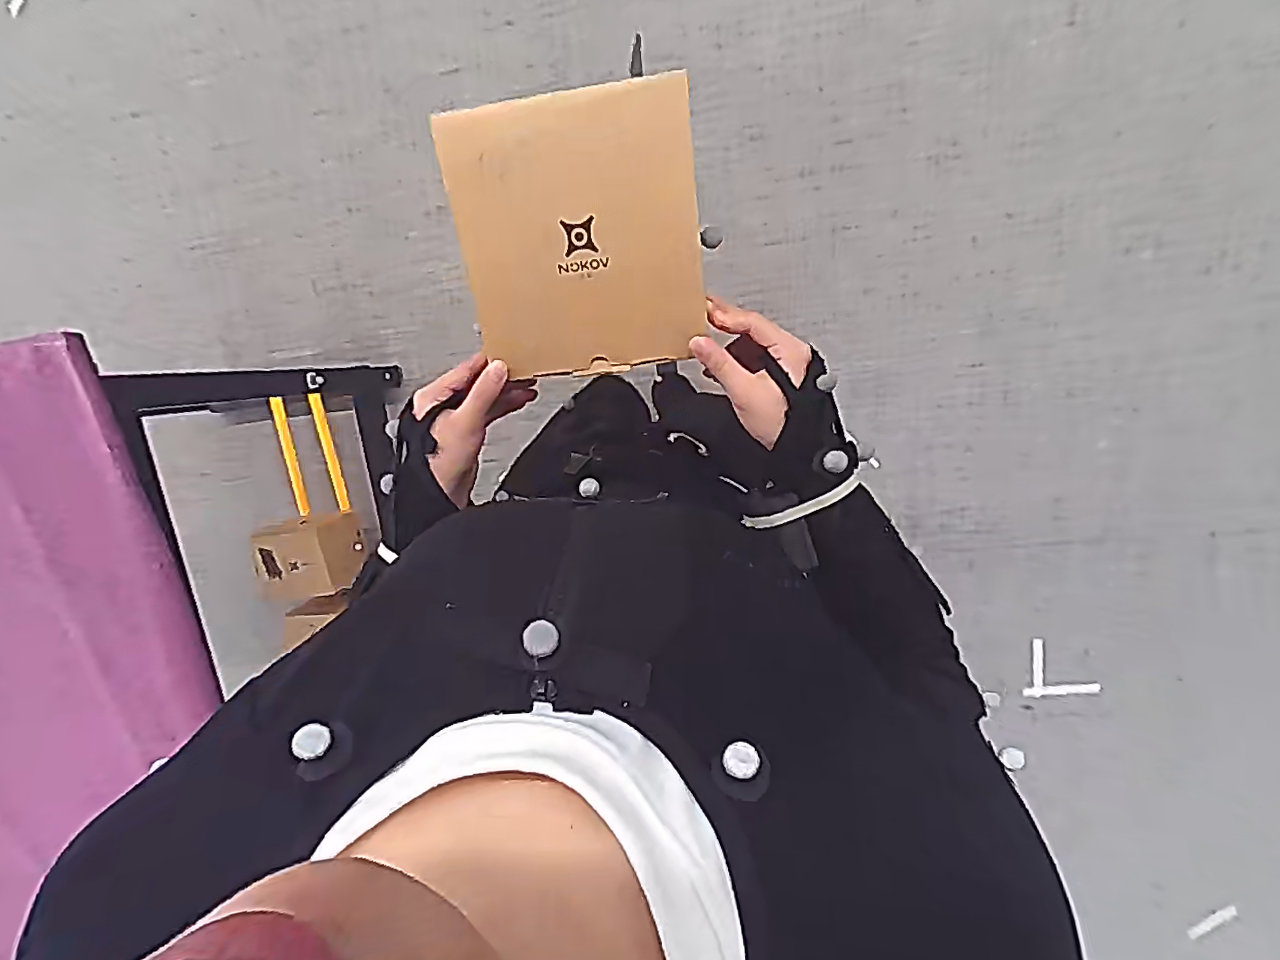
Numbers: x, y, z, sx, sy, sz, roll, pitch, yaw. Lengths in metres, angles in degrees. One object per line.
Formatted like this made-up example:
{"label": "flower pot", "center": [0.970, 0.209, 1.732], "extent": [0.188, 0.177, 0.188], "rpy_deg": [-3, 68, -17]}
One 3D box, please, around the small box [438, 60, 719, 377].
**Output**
{"label": "small box", "center": [-0.033, -0.193, 0.431], "extent": [0.168, 0.176, 0.179], "rpy_deg": [-6, 114, 5]}

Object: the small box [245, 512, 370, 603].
{"label": "small box", "center": [-0.805, 0.184, 1.325], "extent": [0.179, 0.176, 0.168], "rpy_deg": [-7, 103, 6]}
